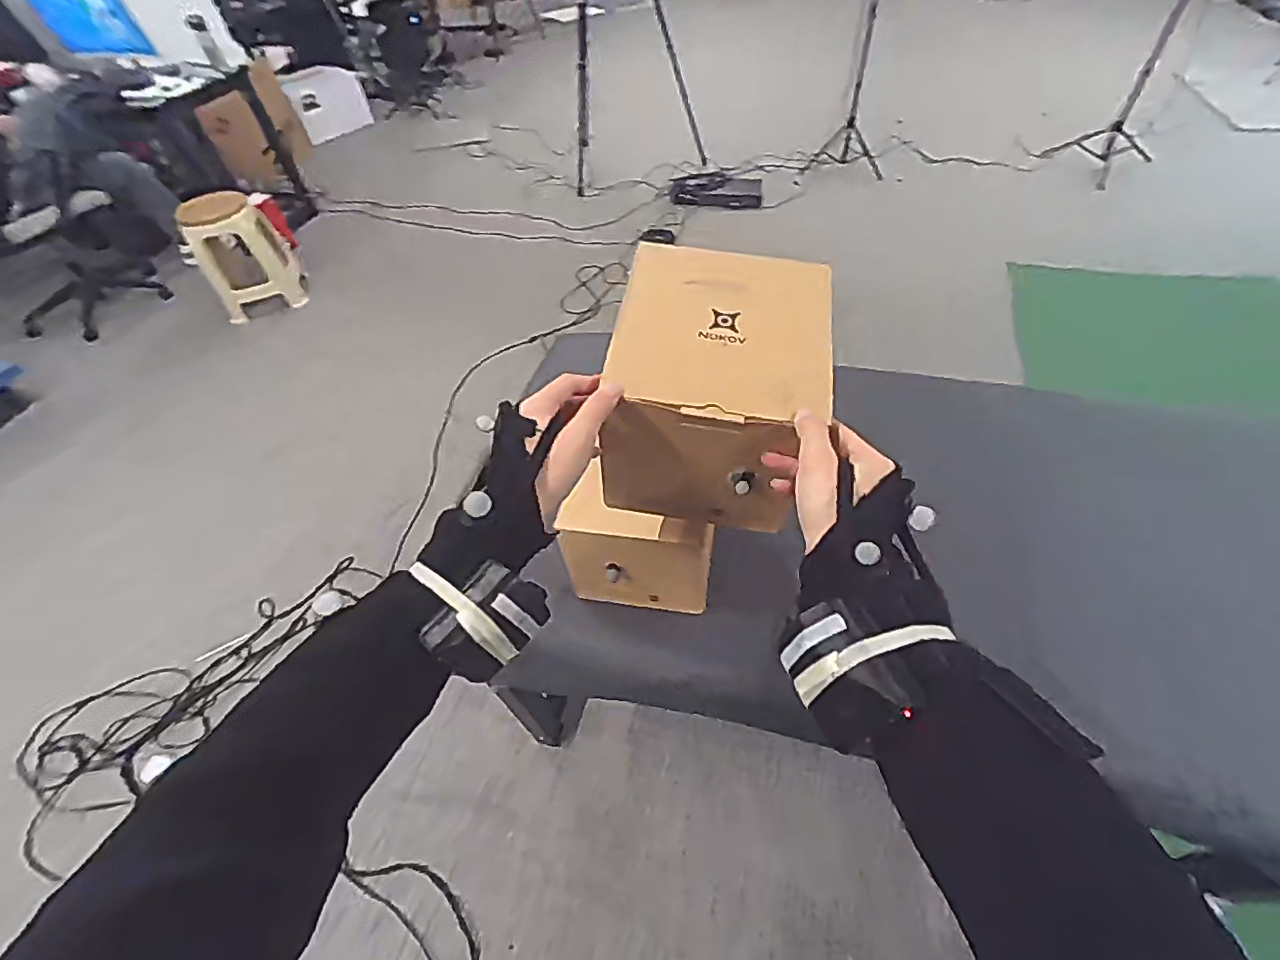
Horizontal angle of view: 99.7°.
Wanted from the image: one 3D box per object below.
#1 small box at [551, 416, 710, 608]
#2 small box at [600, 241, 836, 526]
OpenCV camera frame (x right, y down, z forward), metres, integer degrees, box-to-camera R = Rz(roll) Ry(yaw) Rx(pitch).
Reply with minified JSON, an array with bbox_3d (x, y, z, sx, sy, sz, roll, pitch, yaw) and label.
[{"bbox_3d":[0.003,0.043,0.685,0.168,0.176,0.179,6,51,9],"label":"small box"},{"bbox_3d":[0.065,-0.077,0.481,0.168,0.176,0.179,9,59,3],"label":"small box"}]
